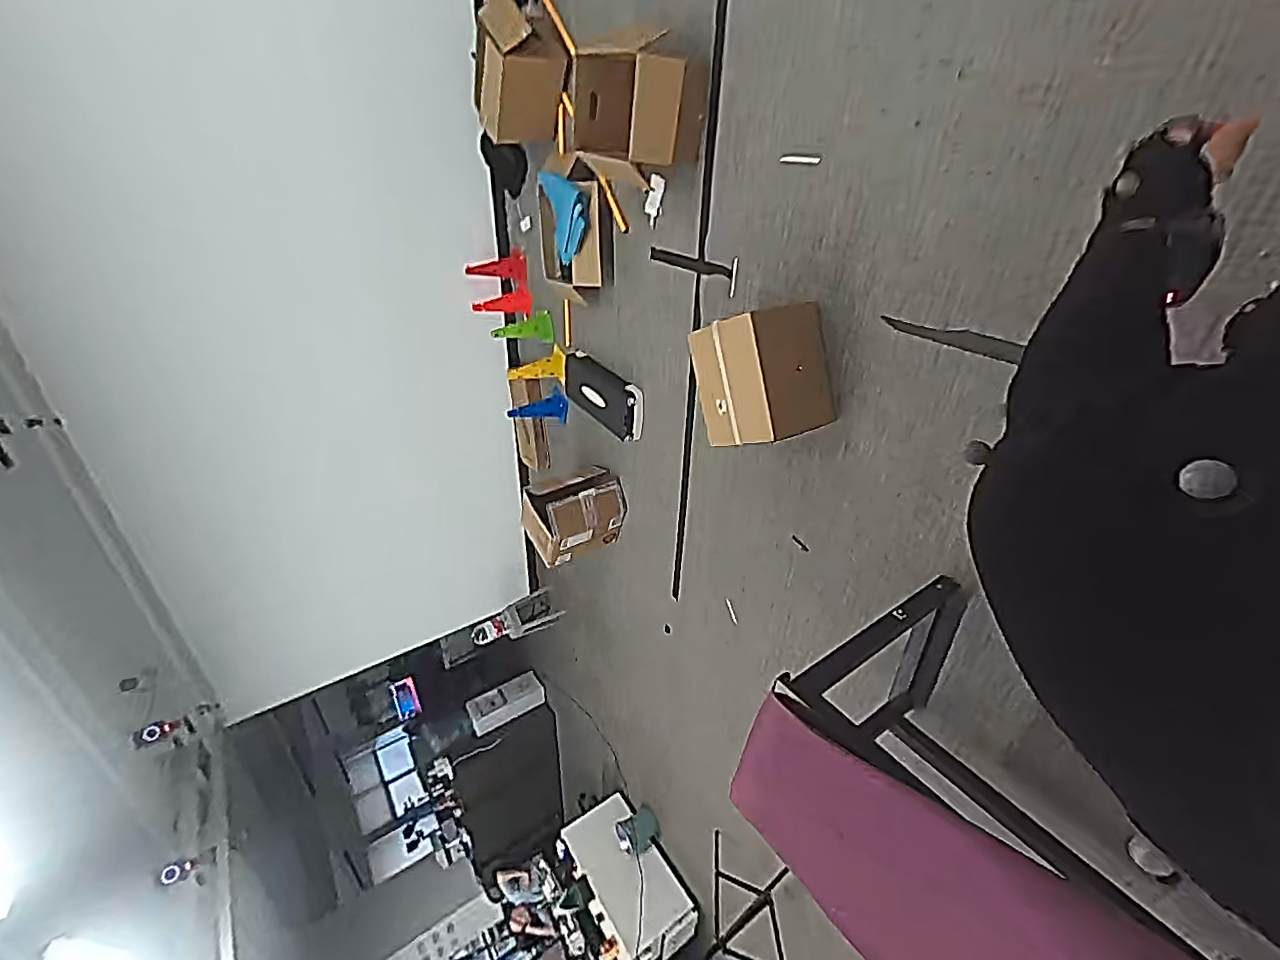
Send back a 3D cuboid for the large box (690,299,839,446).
[{"bbox_3d":[0.421,-0.354,1.823,0.320,0.320,0.408,1,108,59],"label":"large box"}]
